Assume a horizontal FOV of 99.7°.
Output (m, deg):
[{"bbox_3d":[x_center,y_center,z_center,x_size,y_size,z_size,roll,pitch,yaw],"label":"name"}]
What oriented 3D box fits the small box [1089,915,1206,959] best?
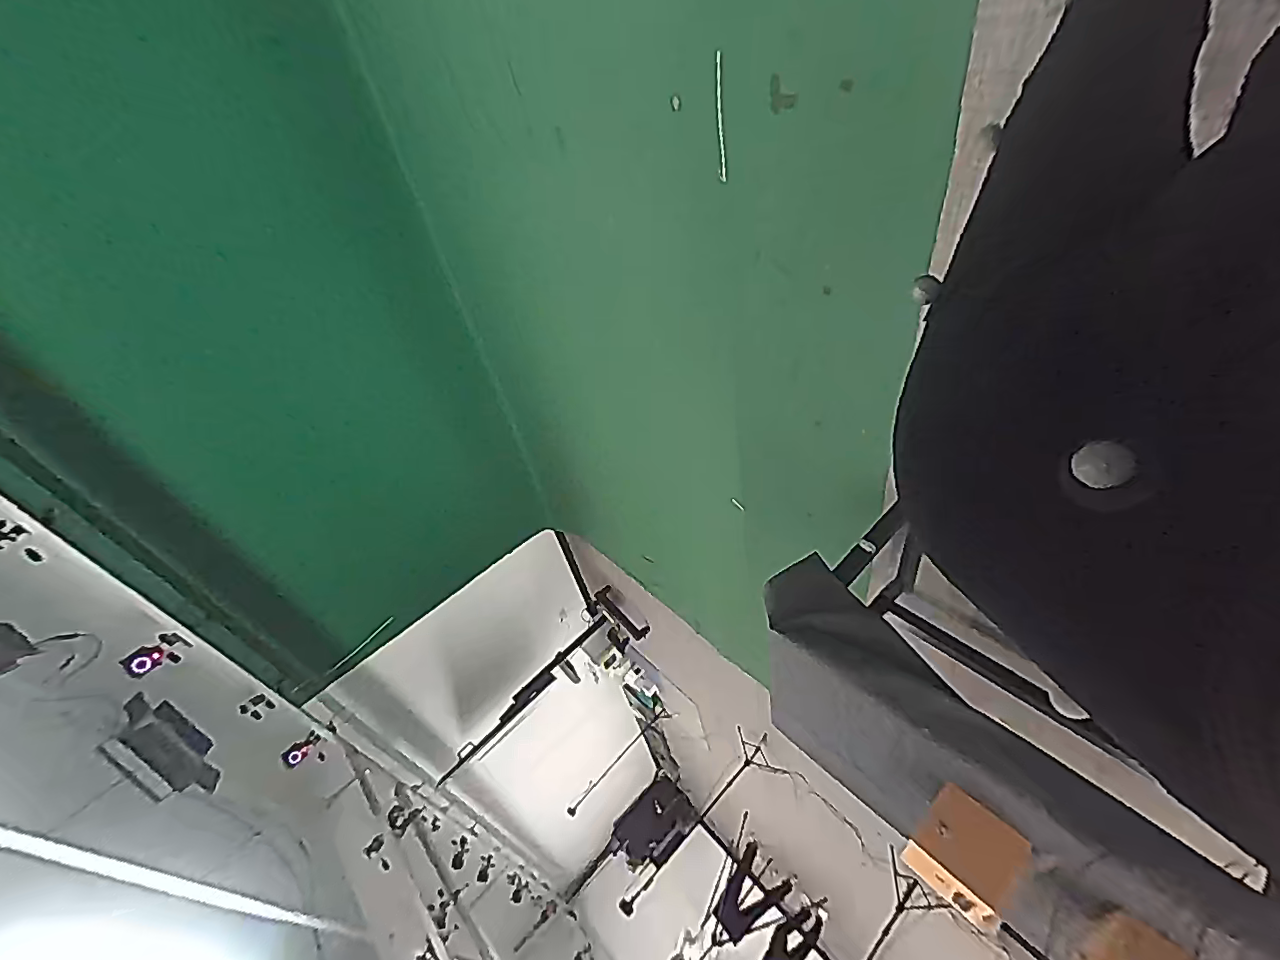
[{"bbox_3d":[0.940,0.934,0.979,0.179,0.176,0.168,30,149,39],"label":"small box"}]
